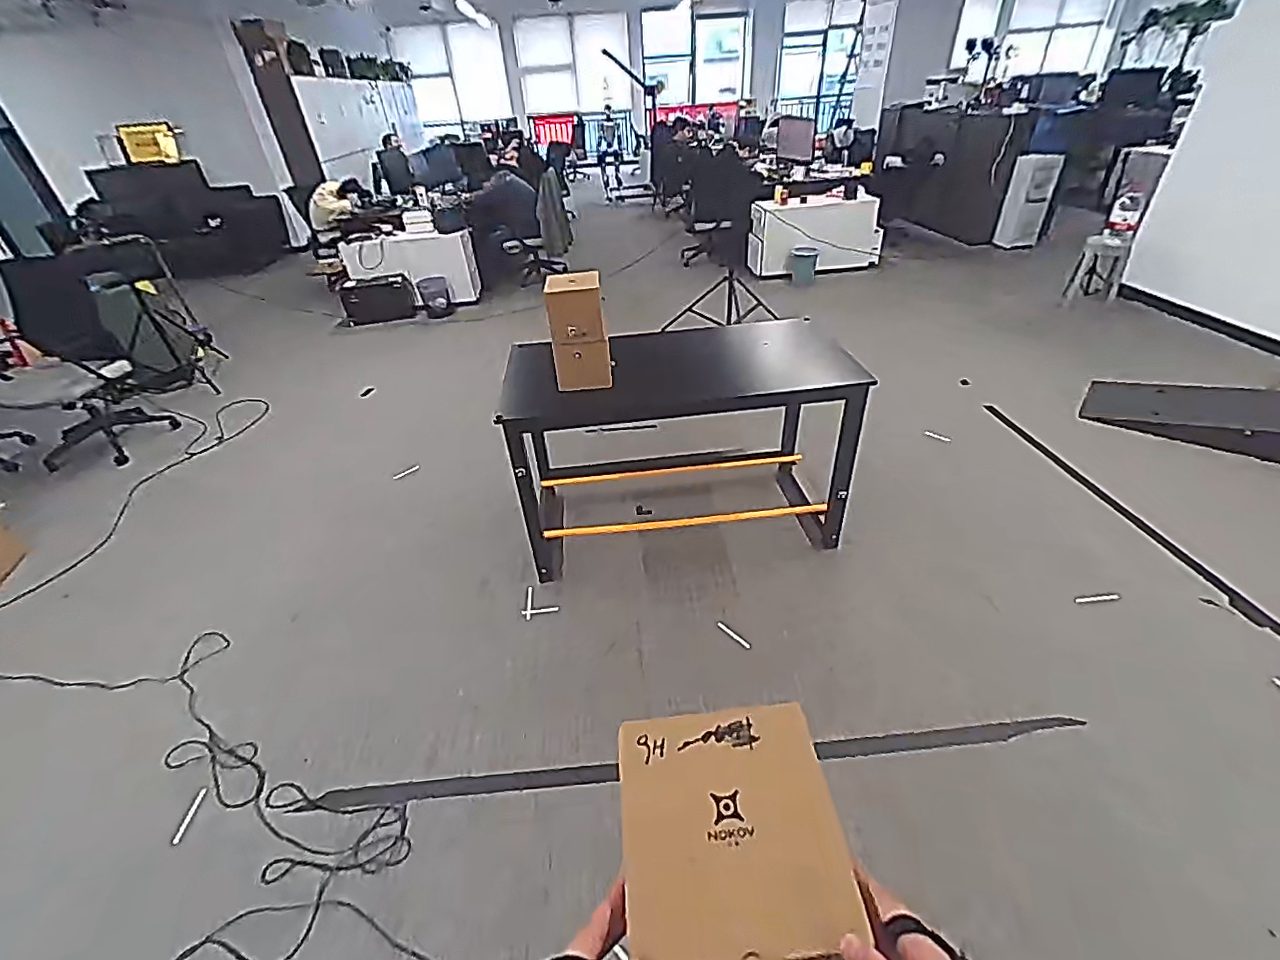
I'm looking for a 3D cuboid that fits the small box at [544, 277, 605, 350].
[{"bbox_3d":[-0.204,-0.529,1.716,0.168,0.176,0.179,-7,37,-1],"label":"small box"}]

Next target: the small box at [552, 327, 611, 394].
[{"bbox_3d":[-0.192,-0.398,1.812,0.179,0.176,0.168,-5,36,-2],"label":"small box"}]

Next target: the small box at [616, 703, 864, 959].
[{"bbox_3d":[0.072,0.326,0.472,0.168,0.176,0.179,-7,40,0],"label":"small box"}]
